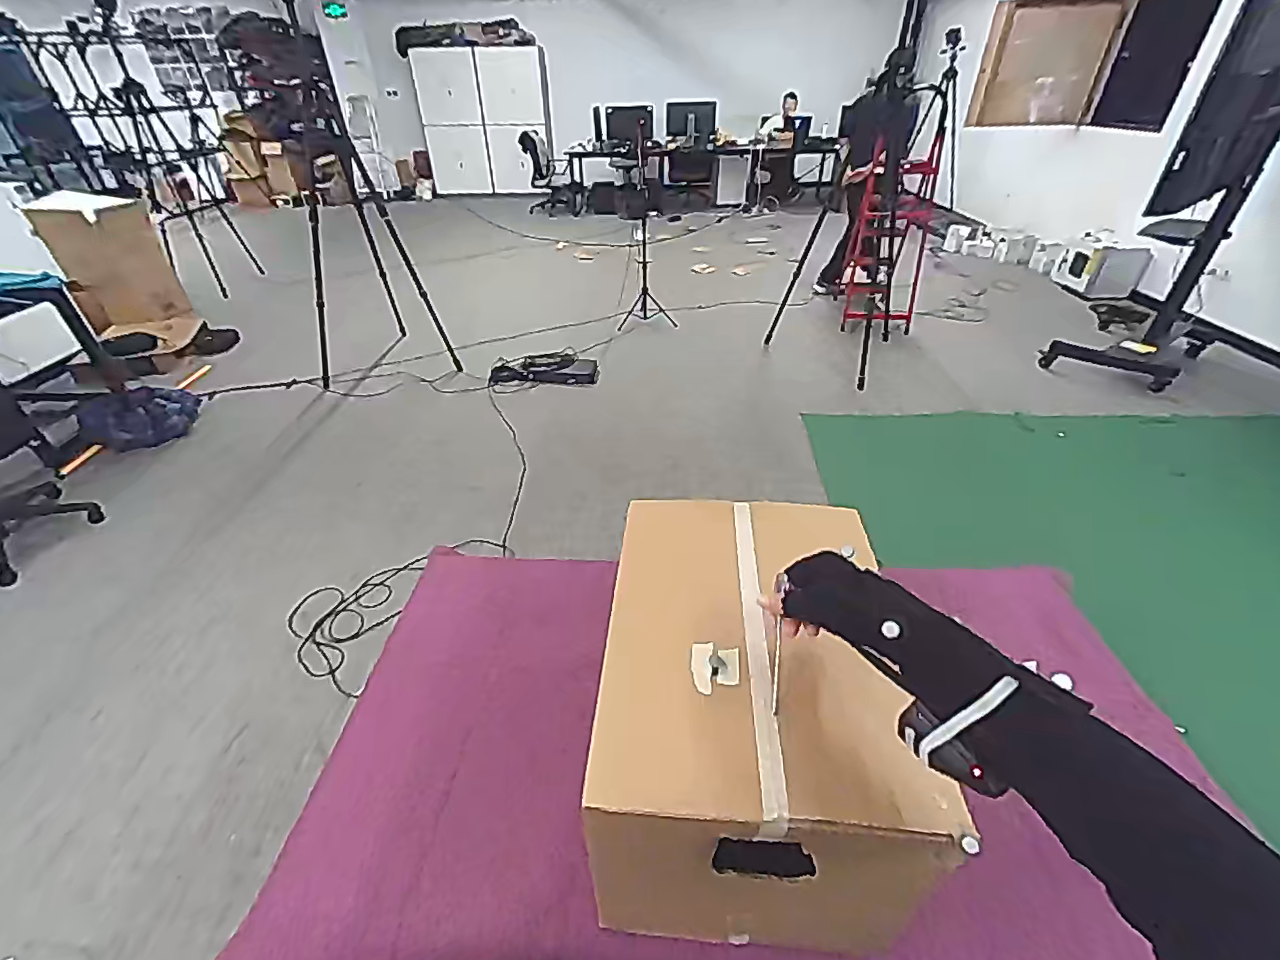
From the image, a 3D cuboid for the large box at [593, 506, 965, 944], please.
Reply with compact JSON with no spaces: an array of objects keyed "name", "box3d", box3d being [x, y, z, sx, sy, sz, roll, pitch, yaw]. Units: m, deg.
[{"name":"large box","box3d":[0.125,0.282,0.690,0.320,0.320,0.408,2,37,4]}]
